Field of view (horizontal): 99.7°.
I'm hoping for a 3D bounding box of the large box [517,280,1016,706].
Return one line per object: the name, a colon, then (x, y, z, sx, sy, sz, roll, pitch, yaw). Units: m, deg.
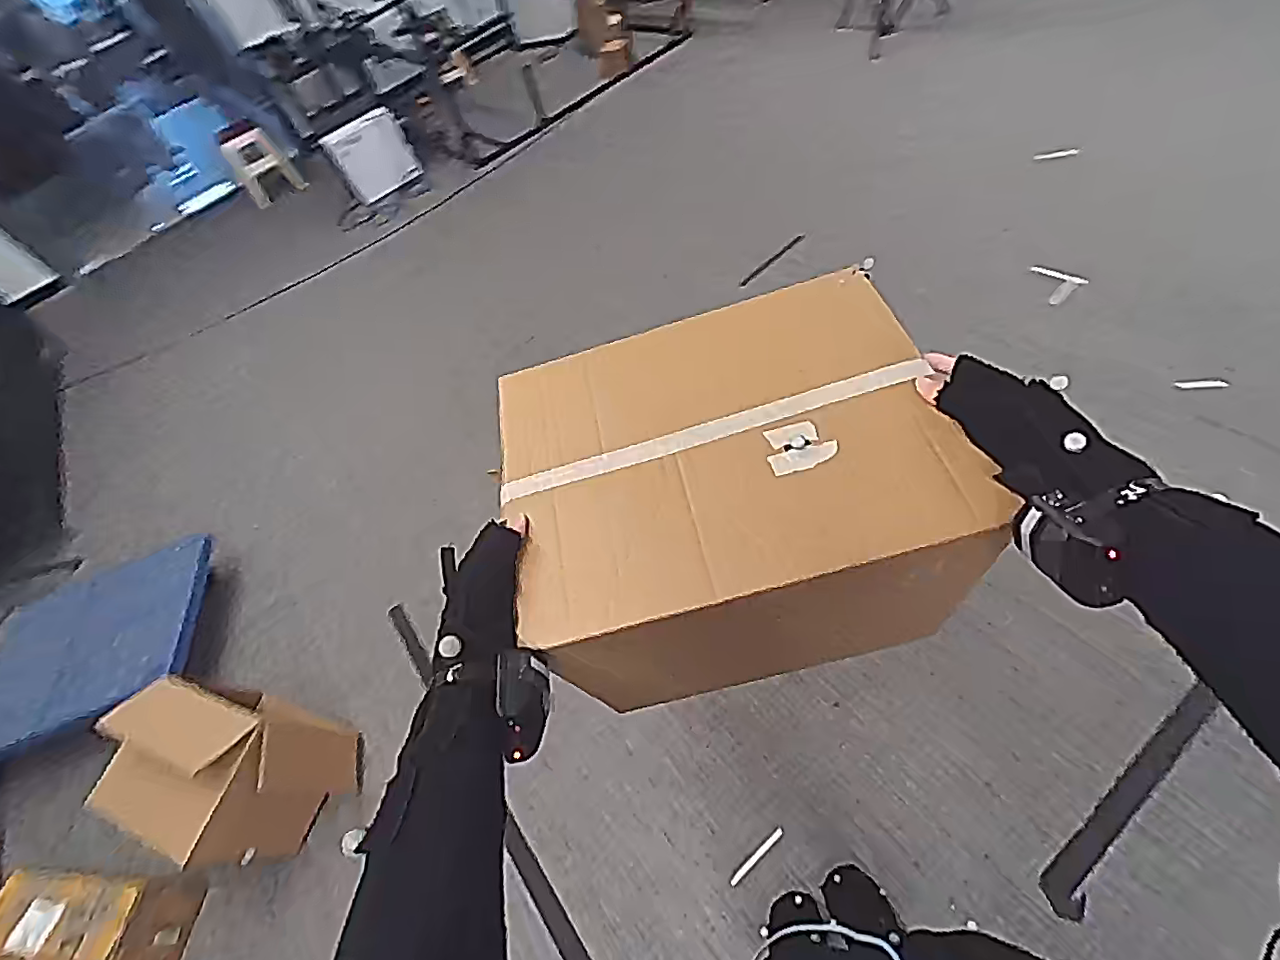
large box: (0.108, 0.037, 0.637, 0.408, 0.320, 0.320, -16, 57, 5)
